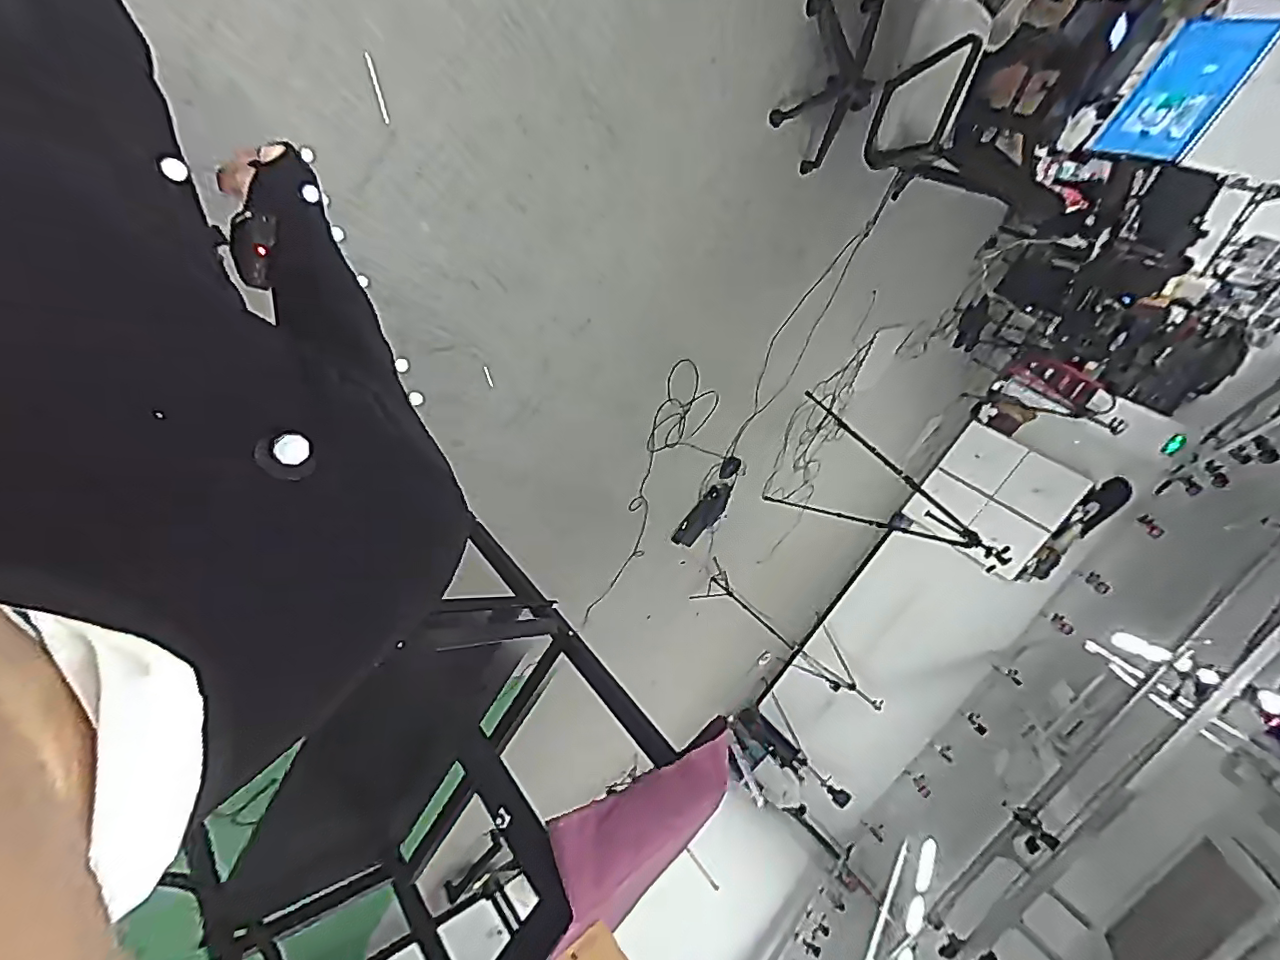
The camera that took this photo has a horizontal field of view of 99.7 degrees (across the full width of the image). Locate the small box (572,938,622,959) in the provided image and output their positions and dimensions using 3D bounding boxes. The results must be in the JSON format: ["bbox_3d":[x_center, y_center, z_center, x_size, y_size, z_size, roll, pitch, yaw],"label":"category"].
[{"bbox_3d":[-0.103,1.012,1.004,0.168,0.176,0.179,12,113,-55],"label":"small box"}]
